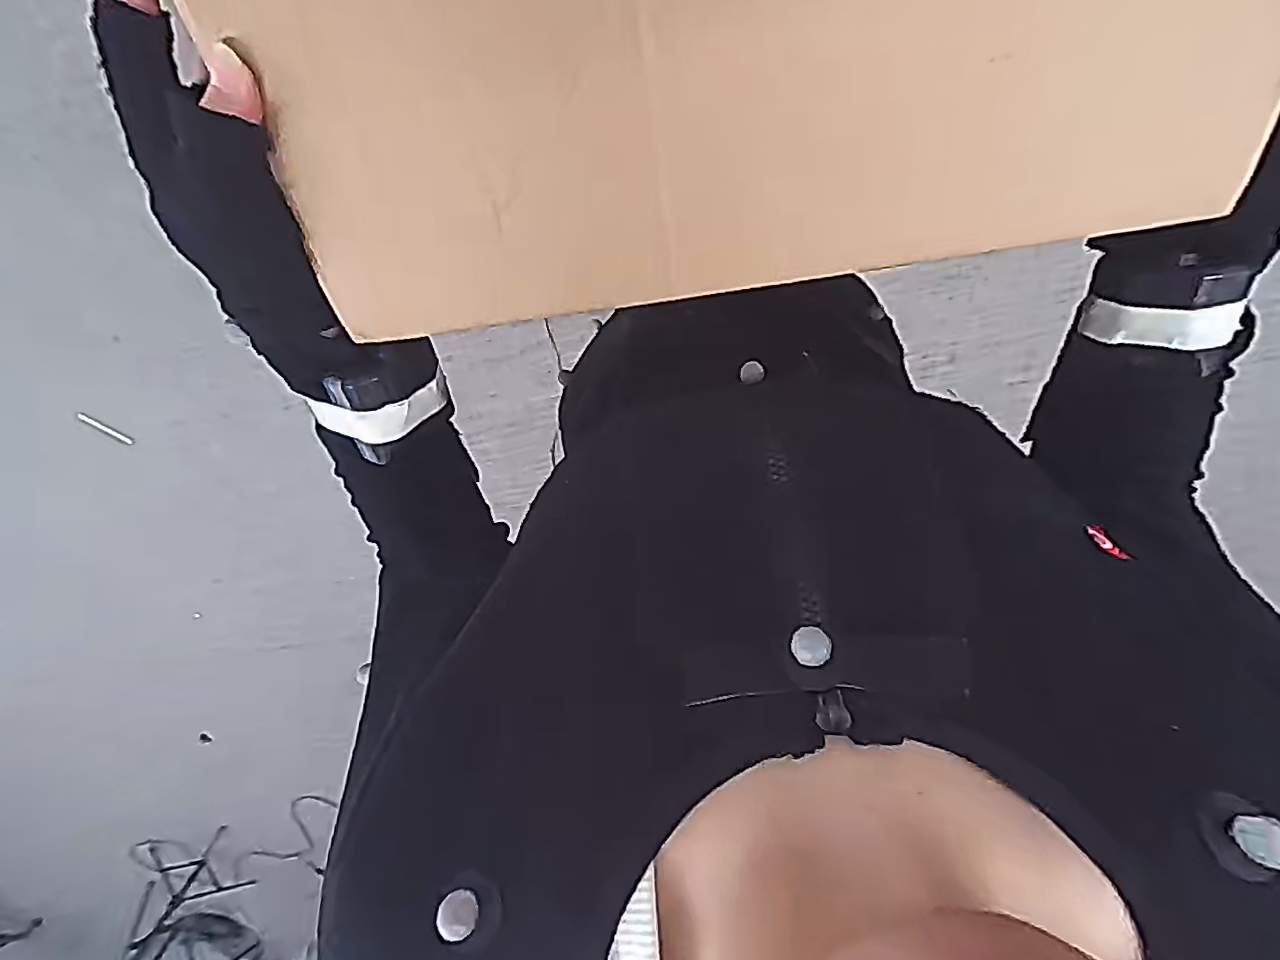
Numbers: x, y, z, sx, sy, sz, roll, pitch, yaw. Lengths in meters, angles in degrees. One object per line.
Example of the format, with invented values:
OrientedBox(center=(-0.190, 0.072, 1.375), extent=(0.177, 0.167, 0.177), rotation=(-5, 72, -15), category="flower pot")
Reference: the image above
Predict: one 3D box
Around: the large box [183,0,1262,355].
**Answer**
OrientedBox(center=(0.026, -0.303, 0.293), extent=(0.408, 0.320, 0.320), rotation=(-7, 127, 7), category="large box")
